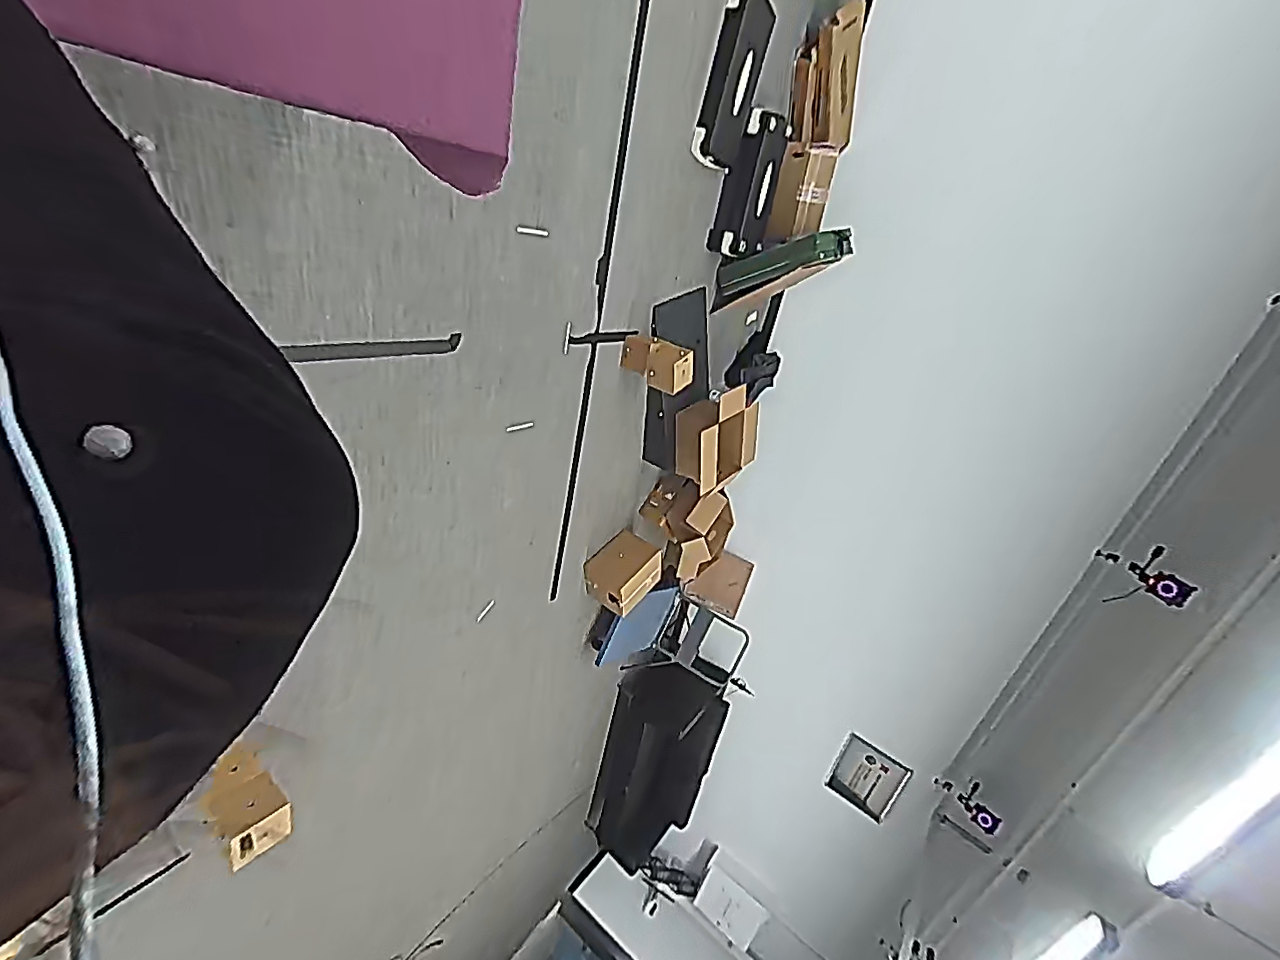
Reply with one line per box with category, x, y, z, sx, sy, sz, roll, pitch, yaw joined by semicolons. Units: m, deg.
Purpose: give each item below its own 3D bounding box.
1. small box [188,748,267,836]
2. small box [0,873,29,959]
small box;-1.422;1.063;1.866;0.168;0.176;0.179;-22;134;-52
small box;-1.749;1.178;1.408;0.168;0.176;0.179;-19;131;-52
